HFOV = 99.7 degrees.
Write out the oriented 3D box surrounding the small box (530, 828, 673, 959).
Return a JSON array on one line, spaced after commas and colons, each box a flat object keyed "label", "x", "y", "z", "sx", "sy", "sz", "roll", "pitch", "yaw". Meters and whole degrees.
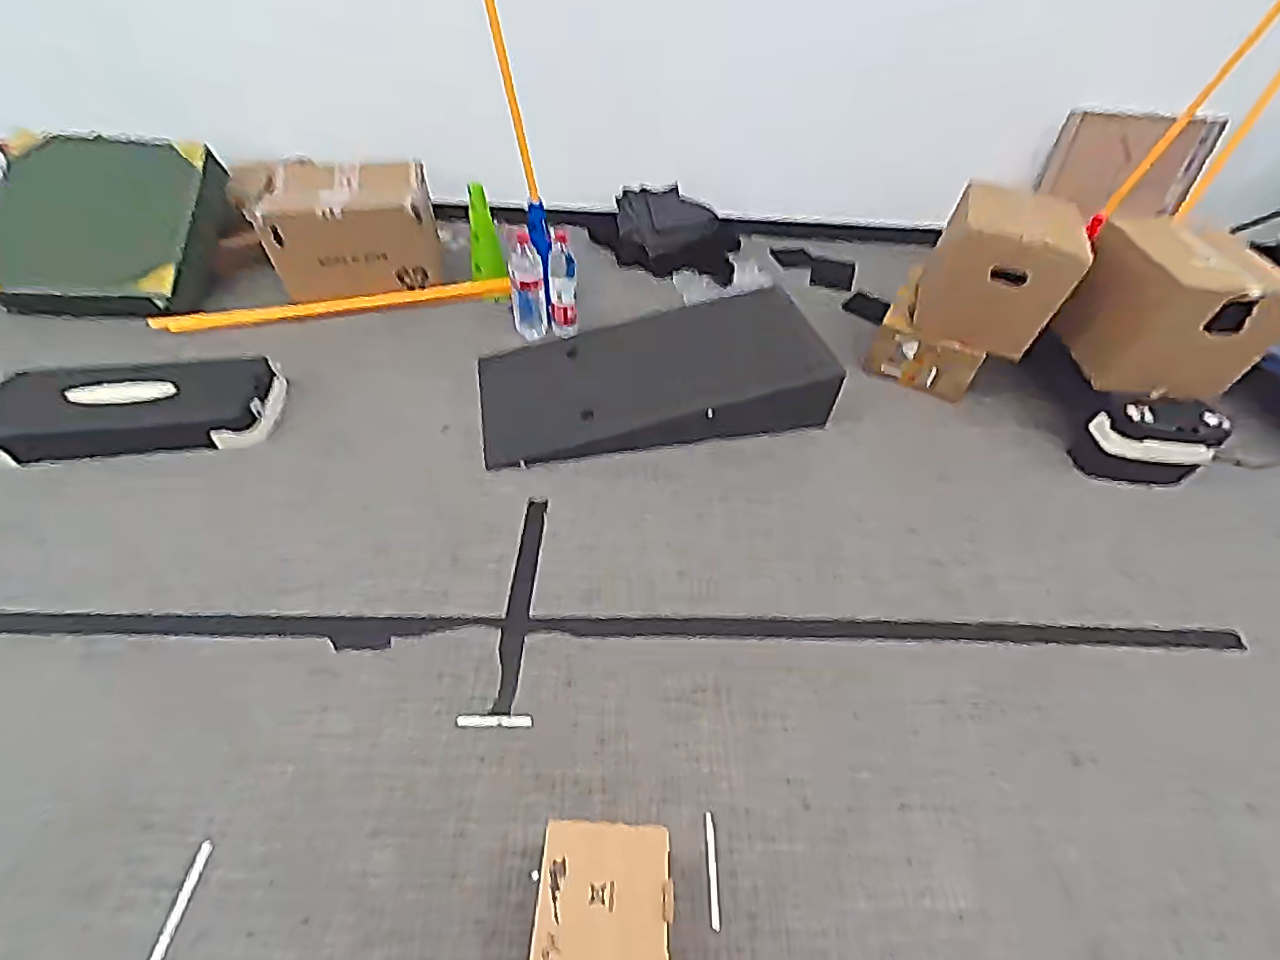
[{"label": "small box", "x": -0.052, "y": 0.607, "z": 0.761, "sx": 0.179, "sy": 0.176, "sz": 0.168, "roll": 5, "pitch": 48, "yaw": -1}]
